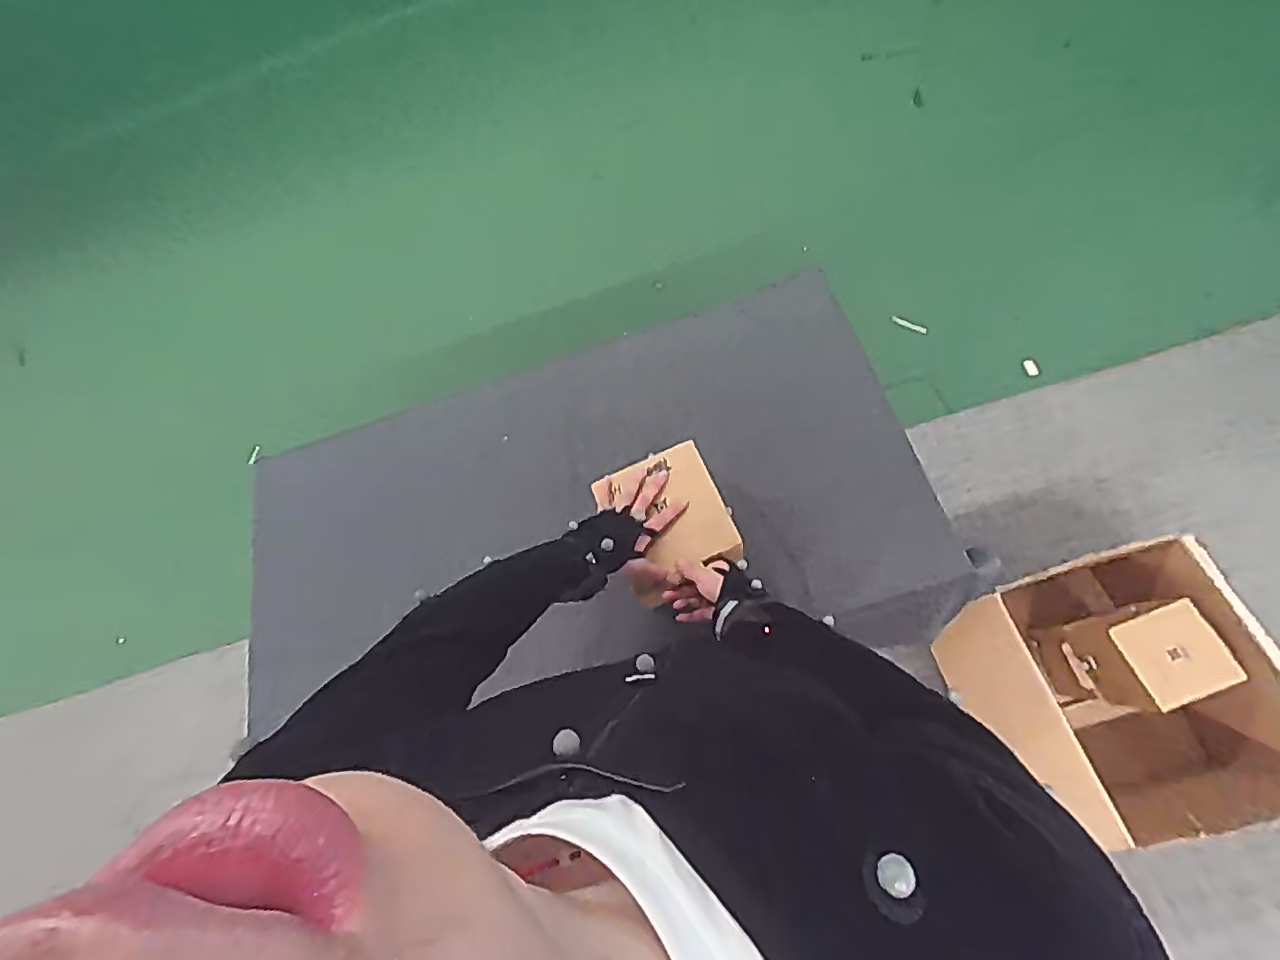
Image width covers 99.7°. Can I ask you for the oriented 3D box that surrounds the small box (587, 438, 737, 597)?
[{"bbox_3d":[0.040,0.068,0.823,0.168,0.176,0.179,-23,68,1],"label":"small box"}]

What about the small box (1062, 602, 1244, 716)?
[{"bbox_3d":[1.040,0.365,1.117,0.179,0.176,0.168,-24,70,2],"label":"small box"}]
